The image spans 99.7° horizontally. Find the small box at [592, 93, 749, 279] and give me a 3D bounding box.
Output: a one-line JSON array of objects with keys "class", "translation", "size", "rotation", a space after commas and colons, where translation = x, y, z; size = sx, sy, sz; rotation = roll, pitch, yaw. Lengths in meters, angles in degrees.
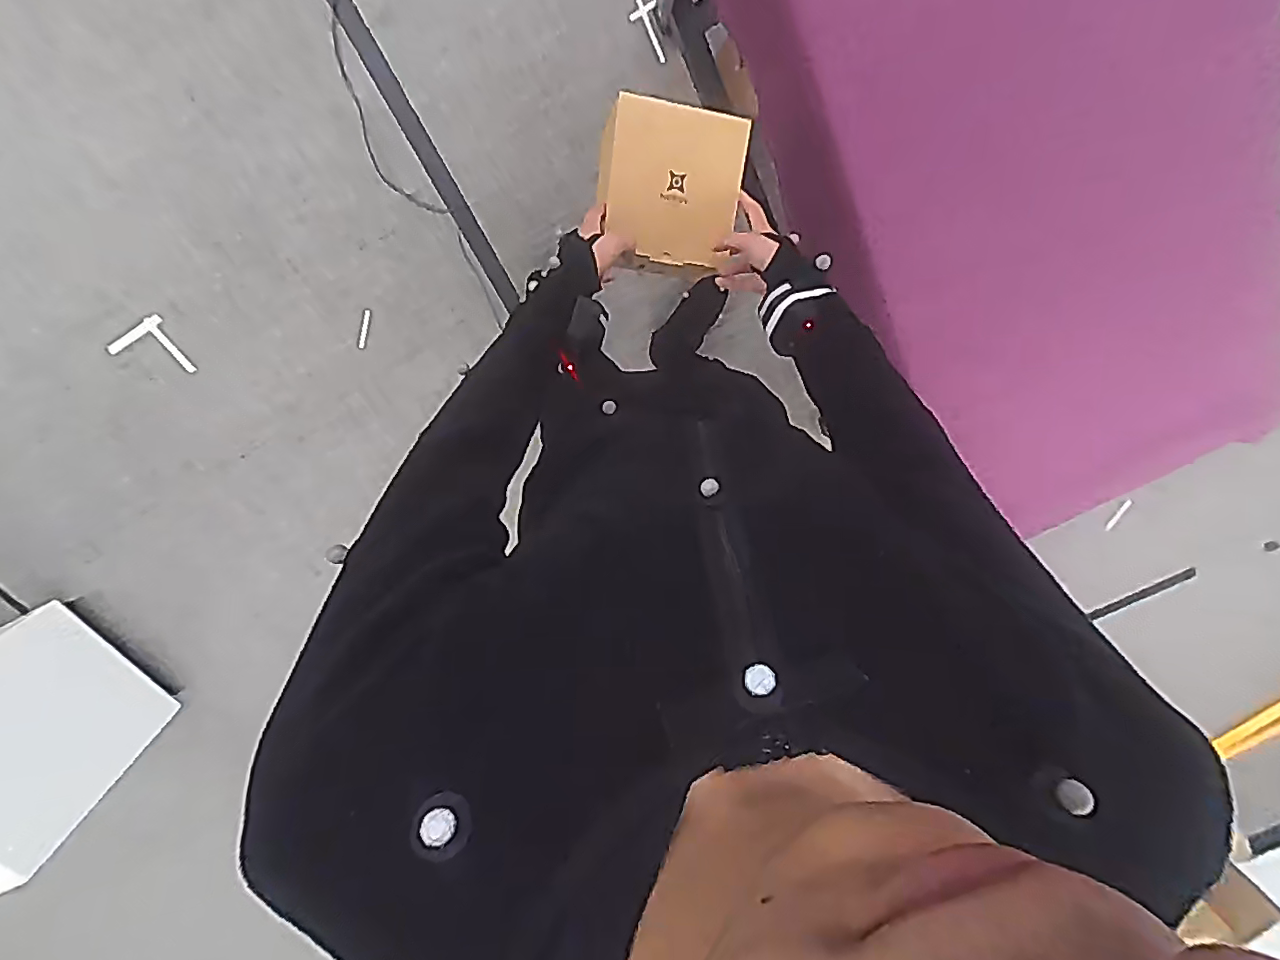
[{"class": "small box", "translation": [0.029, -0.381, 0.735], "size": [0.168, 0.176, 0.179], "rotation": [4, 107, -12]}]
